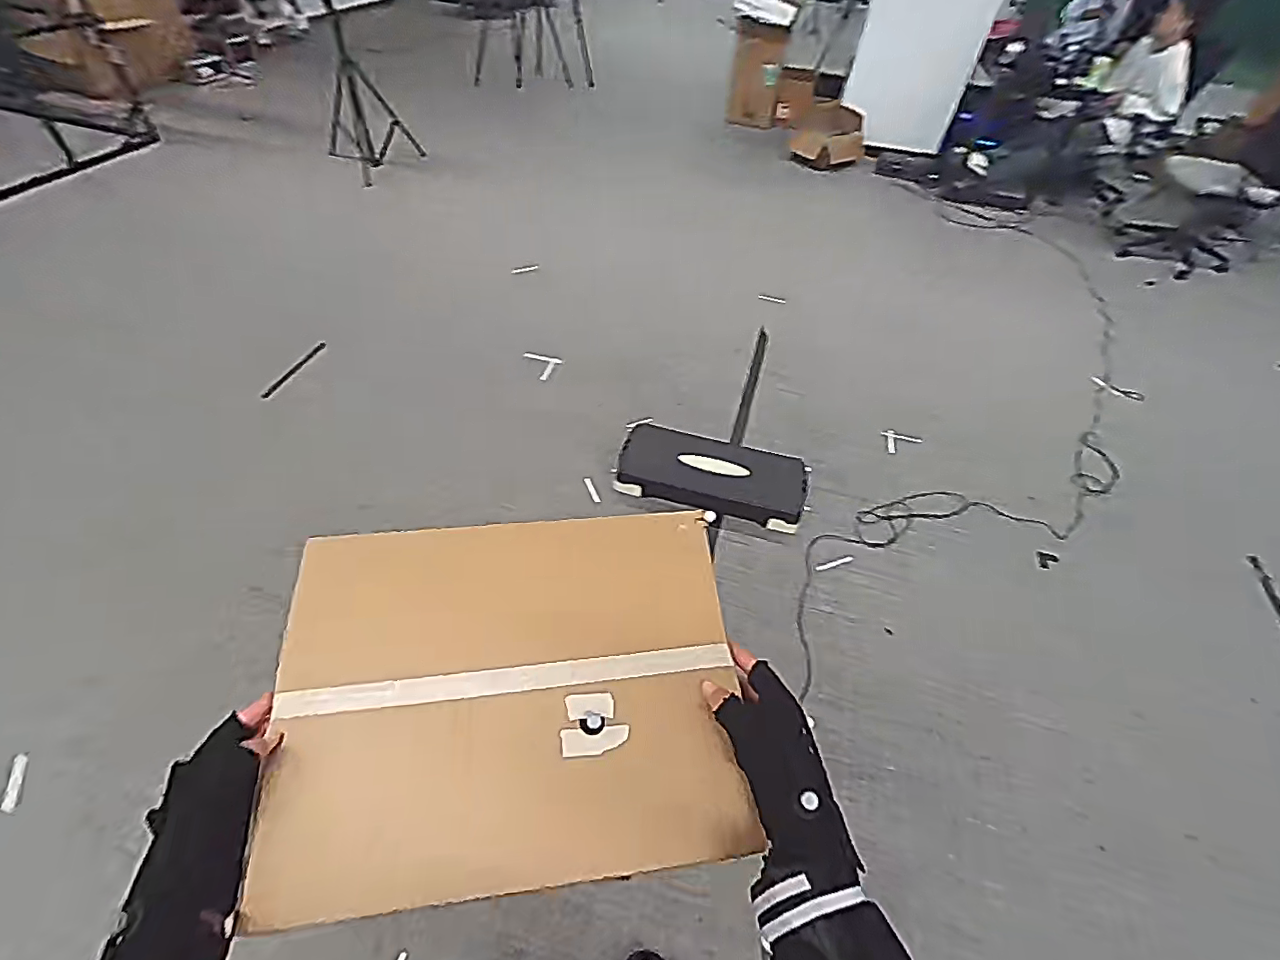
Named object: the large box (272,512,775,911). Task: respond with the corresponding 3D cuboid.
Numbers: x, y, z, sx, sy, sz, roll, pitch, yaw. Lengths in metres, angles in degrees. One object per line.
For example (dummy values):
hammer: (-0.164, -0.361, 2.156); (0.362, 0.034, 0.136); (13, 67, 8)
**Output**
large box: (-0.112, 0.252, 0.628); (0.408, 0.320, 0.320); (-2, 61, -8)
